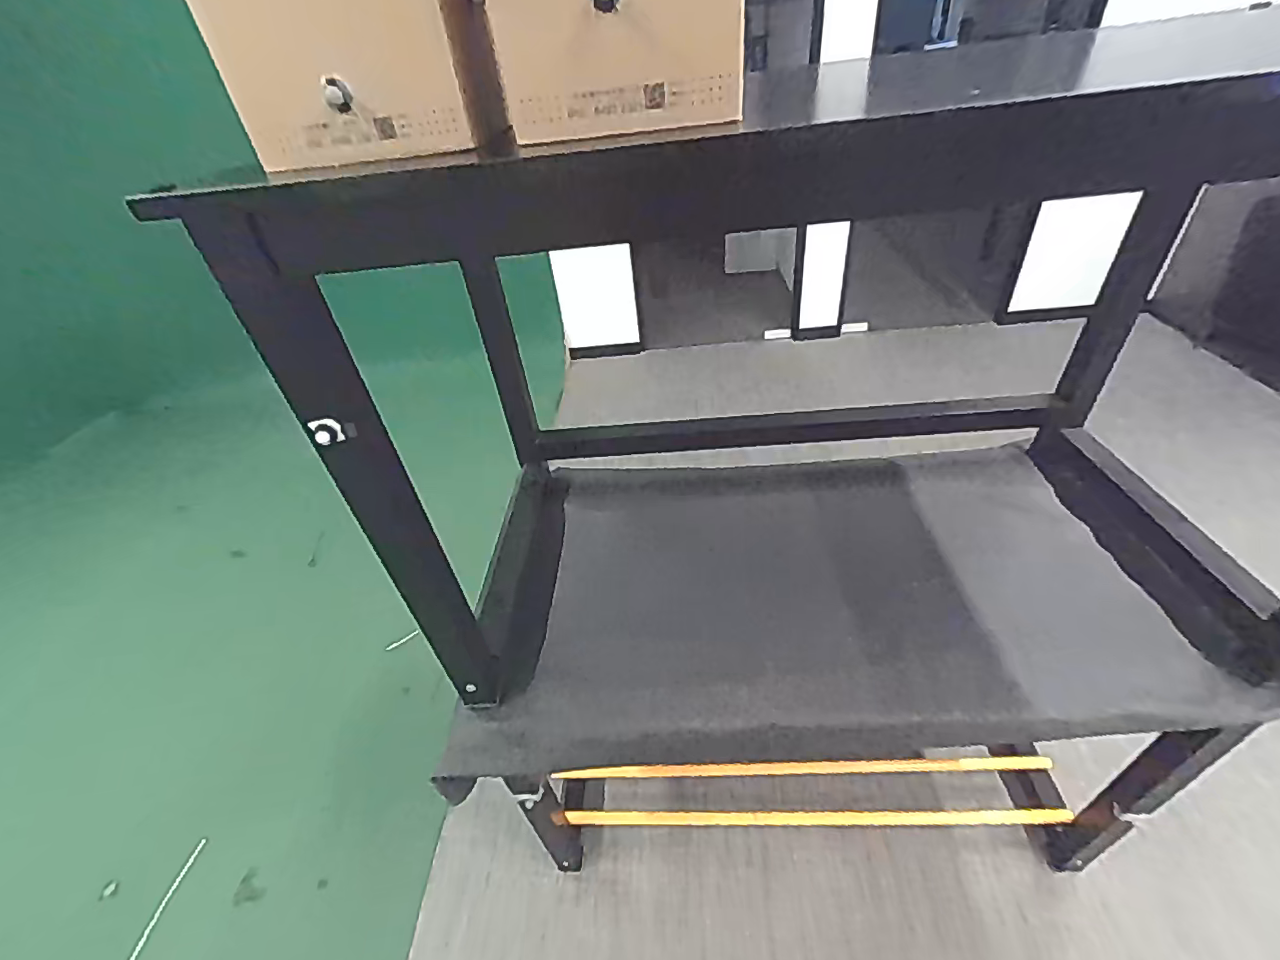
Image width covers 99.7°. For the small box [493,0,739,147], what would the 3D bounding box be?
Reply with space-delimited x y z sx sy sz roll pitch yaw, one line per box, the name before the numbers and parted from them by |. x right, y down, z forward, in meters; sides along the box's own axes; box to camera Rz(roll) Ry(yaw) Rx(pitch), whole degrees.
small box | -0.012 -0.367 0.417 0.168 0.176 0.179 -3 38 6
